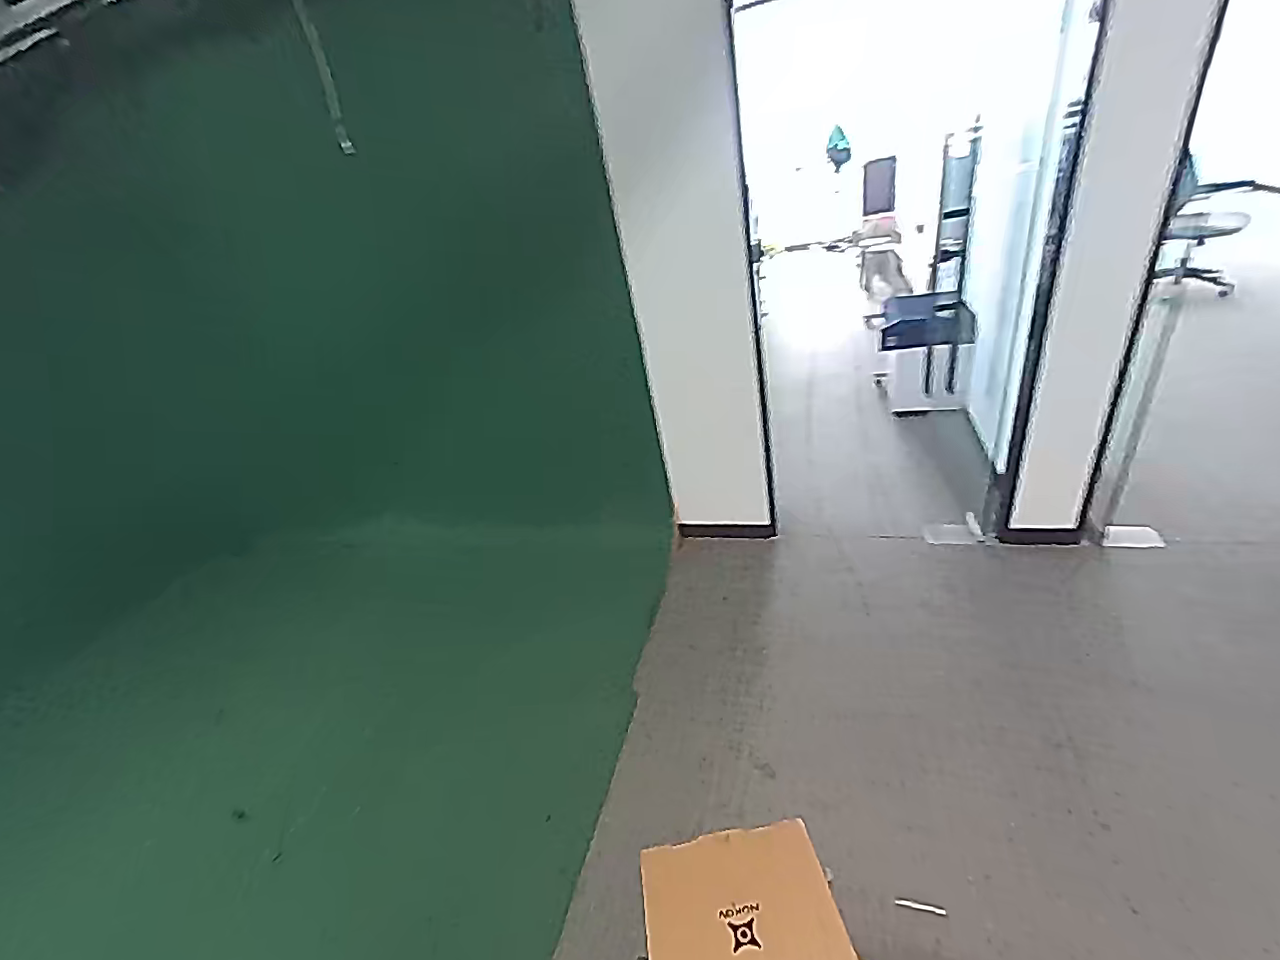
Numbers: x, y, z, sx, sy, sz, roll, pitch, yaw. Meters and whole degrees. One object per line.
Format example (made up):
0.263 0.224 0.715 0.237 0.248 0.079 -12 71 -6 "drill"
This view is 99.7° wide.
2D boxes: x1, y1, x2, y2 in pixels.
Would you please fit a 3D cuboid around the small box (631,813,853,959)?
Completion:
0.093 0.443 0.469 0.168 0.176 0.179 -12 16 -3 "small box"
